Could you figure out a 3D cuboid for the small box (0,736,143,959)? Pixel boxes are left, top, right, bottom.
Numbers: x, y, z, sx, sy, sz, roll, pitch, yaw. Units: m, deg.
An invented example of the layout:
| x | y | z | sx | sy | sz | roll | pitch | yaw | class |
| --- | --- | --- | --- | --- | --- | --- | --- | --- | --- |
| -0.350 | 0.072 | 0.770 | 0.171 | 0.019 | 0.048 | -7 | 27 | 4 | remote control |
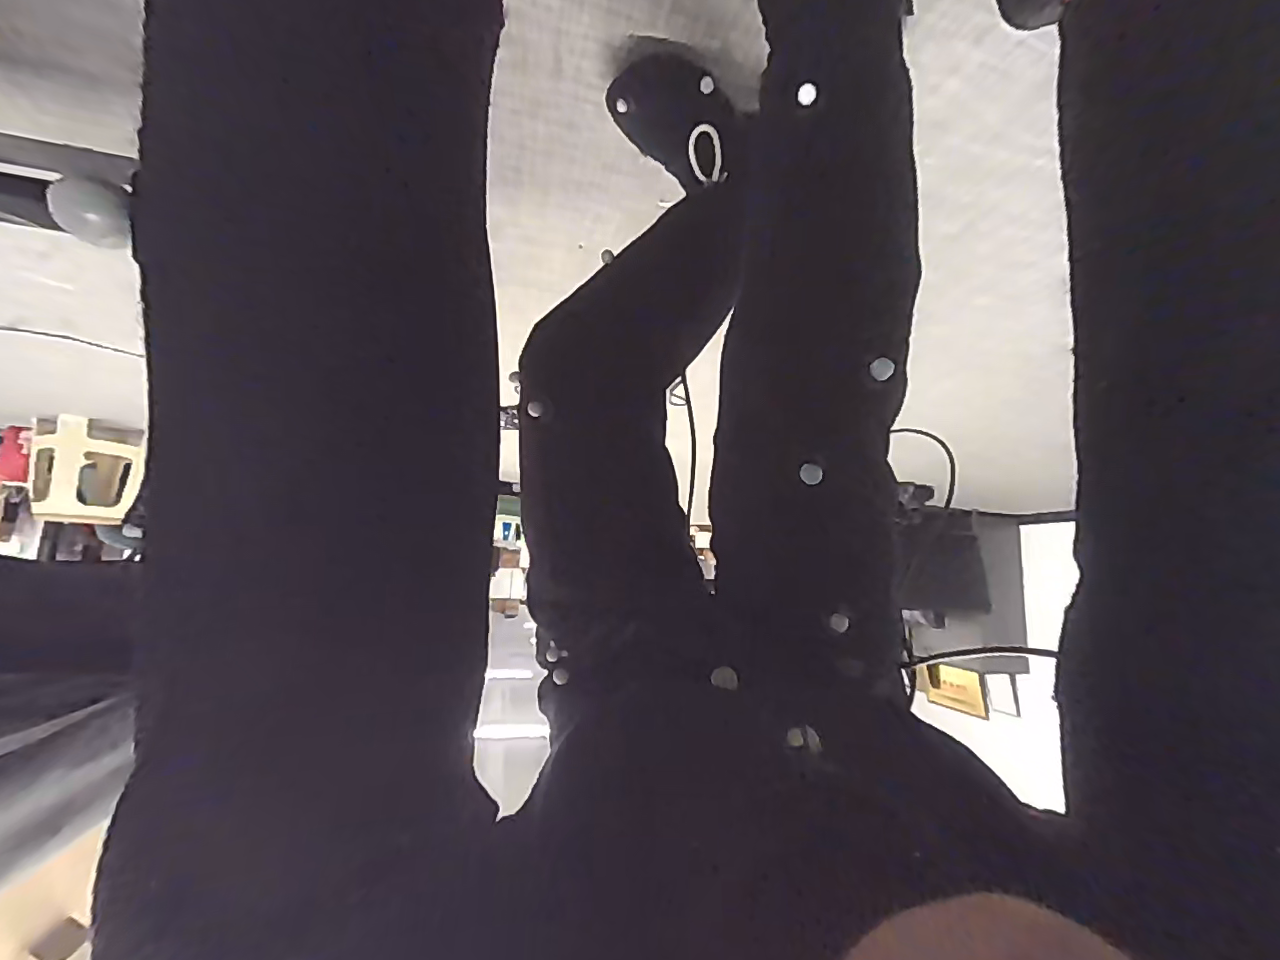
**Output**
| x | y | z | sx | sy | sz | roll | pitch | yaw | class |
| --- | --- | --- | --- | --- | --- | --- | --- | --- | --- |
| -0.568 | 0.318 | 0.441 | 0.179 | 0.176 | 0.168 | 5 | 169 | -11 | small box |
